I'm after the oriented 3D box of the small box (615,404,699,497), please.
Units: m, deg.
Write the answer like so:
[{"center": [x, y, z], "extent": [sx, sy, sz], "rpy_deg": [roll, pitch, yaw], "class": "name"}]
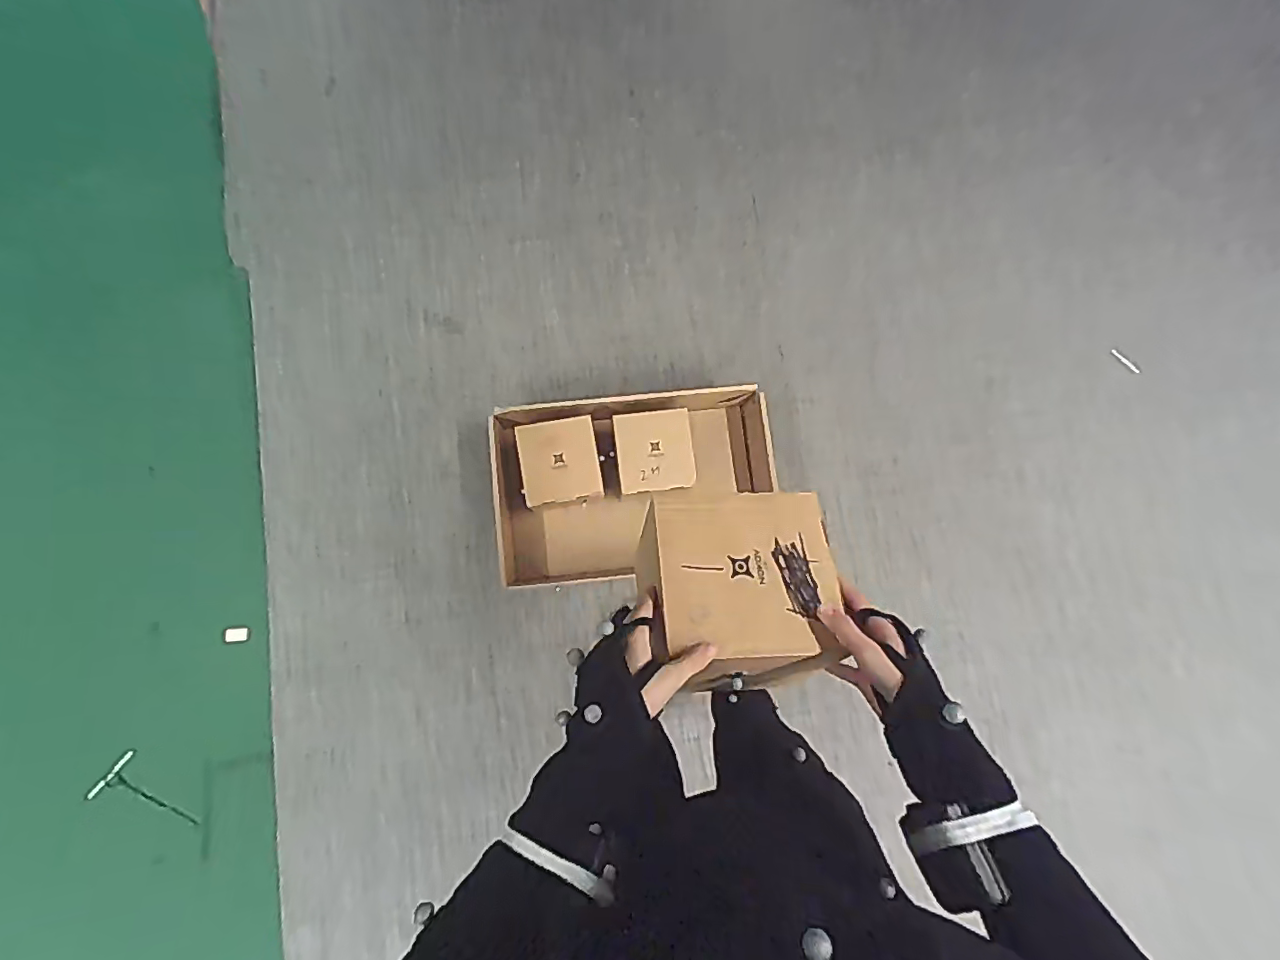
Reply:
[{"center": [0.032, -0.062, 1.234], "extent": [0.168, 0.176, 0.179], "rpy_deg": [-6, 84, -3], "class": "small box"}]
